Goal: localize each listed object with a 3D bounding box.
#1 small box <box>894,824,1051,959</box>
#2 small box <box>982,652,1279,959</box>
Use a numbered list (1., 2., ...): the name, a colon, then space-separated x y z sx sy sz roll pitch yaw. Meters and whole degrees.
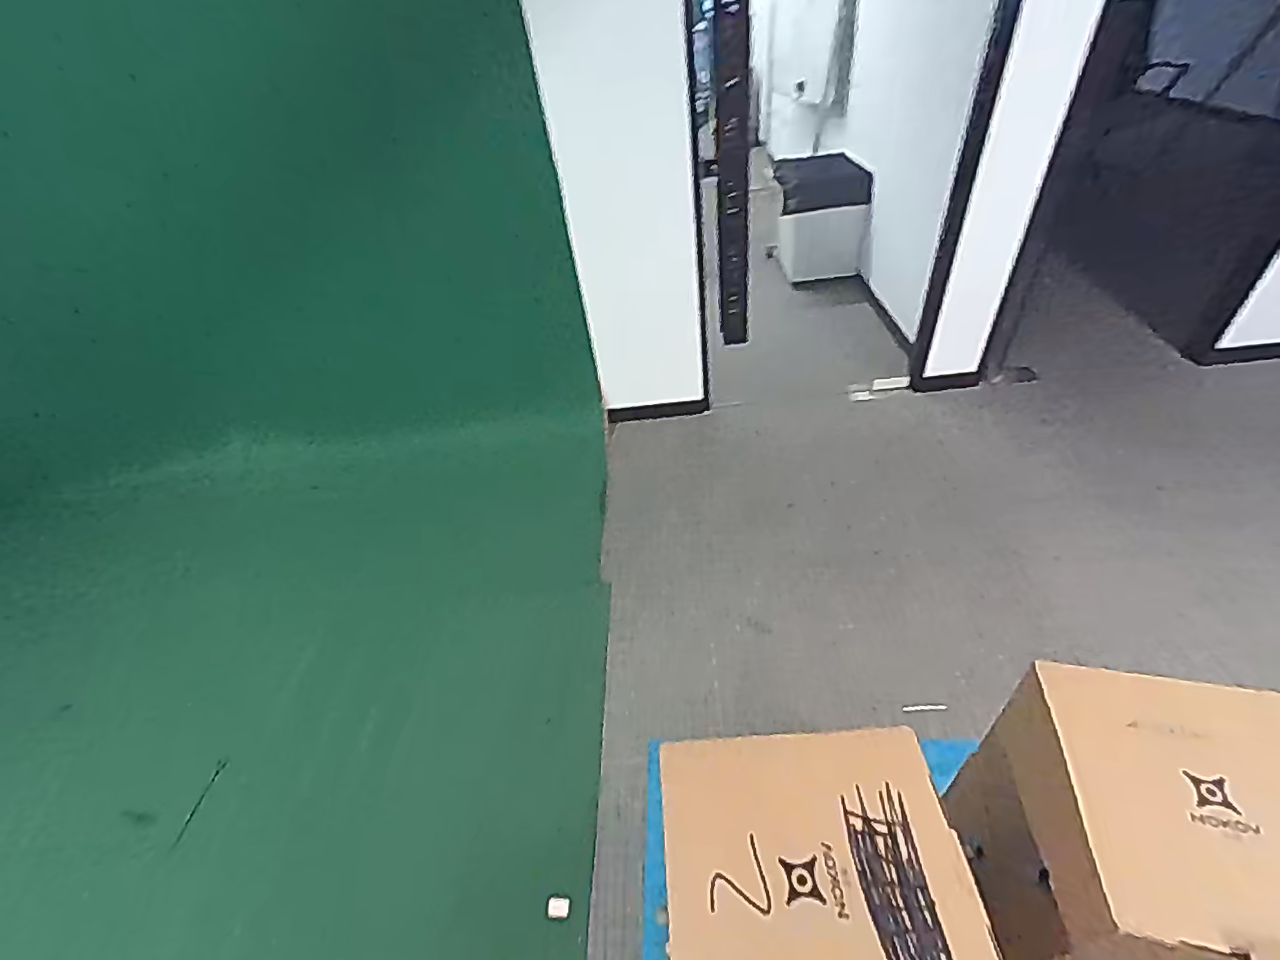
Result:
1. small box: 0.403 0.510 0.602 0.168 0.176 0.179 -2 43 7
2. small box: 0.379 0.258 0.396 0.168 0.176 0.179 5 42 15
